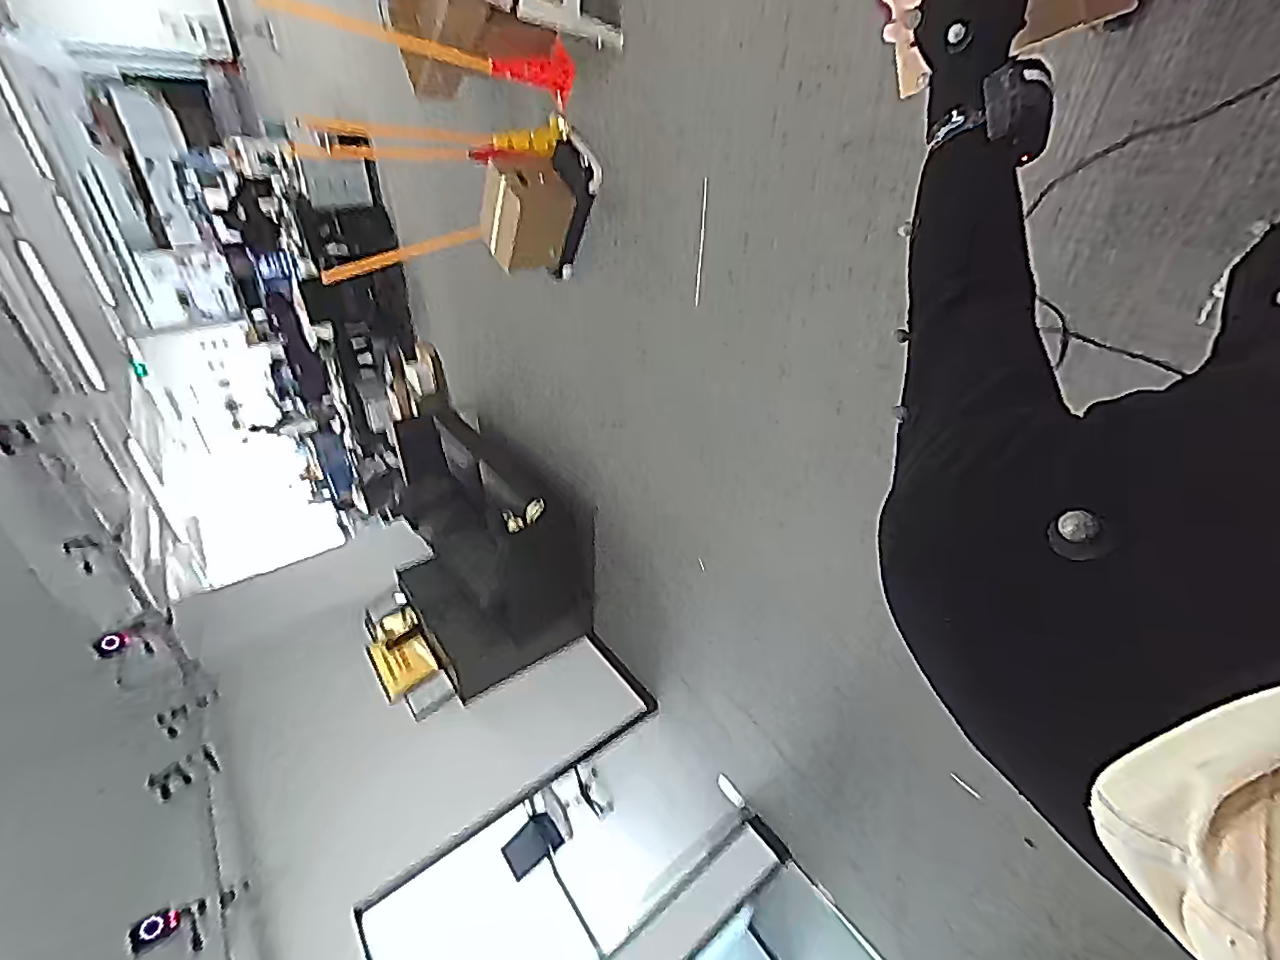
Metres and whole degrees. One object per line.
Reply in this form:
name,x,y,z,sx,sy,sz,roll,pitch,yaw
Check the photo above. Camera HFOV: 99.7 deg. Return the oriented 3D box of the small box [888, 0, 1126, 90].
small box,0.369,-0.532,0.543,0.168,0.176,0.179,15,132,51
